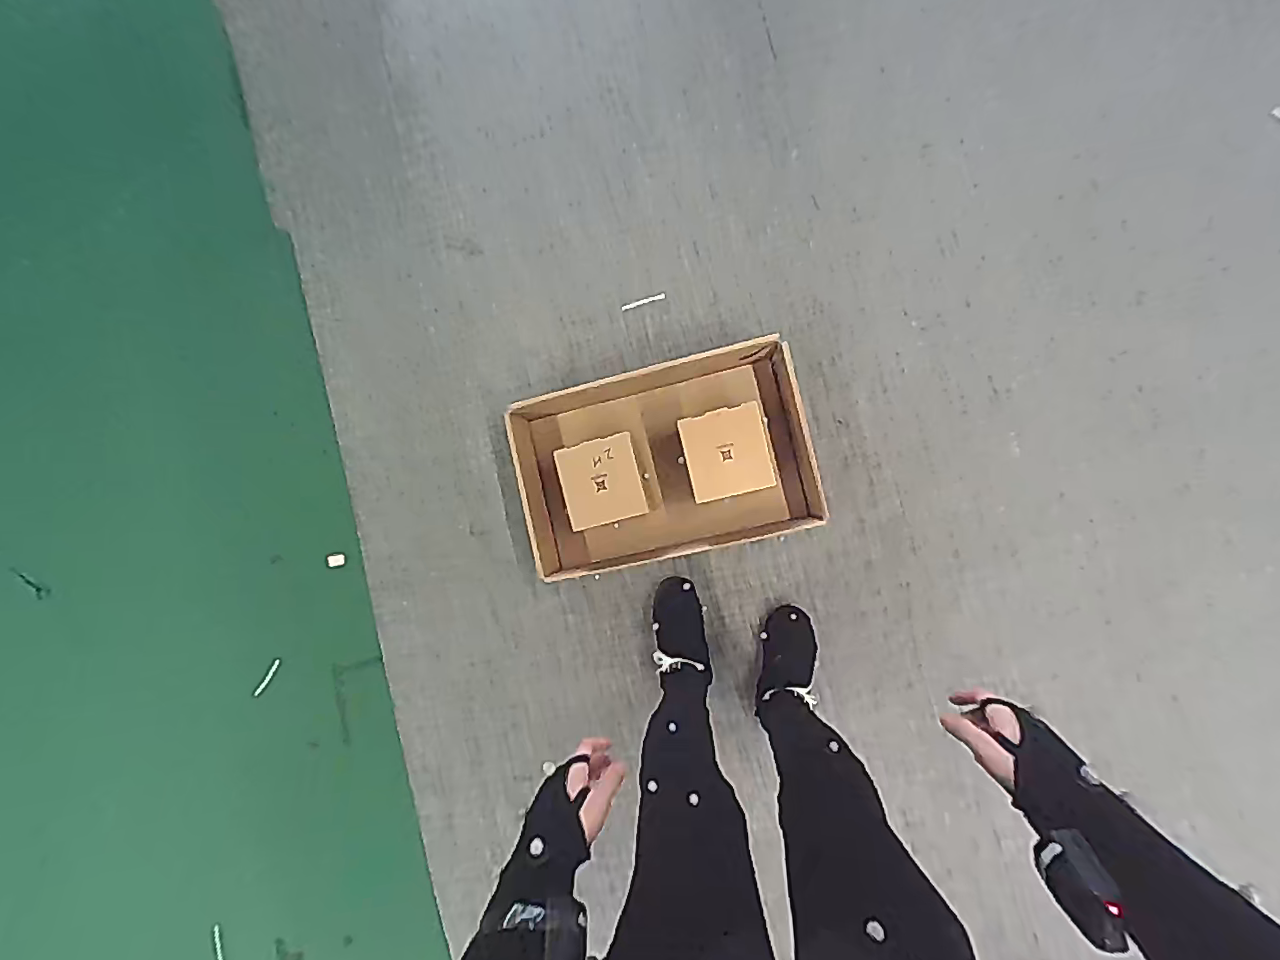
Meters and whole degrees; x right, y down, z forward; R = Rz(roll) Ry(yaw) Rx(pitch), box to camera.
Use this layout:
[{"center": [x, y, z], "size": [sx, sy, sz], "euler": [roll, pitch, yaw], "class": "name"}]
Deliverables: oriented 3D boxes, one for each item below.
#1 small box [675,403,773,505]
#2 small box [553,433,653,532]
[{"center": [0.180, -0.051, 1.154], "size": [0.168, 0.176, 0.179], "euler": [-14, 86, 8], "class": "small box"}, {"center": [-0.074, 0.007, 1.186], "size": [0.168, 0.176, 0.179], "euler": [-14, 87, 6], "class": "small box"}]
